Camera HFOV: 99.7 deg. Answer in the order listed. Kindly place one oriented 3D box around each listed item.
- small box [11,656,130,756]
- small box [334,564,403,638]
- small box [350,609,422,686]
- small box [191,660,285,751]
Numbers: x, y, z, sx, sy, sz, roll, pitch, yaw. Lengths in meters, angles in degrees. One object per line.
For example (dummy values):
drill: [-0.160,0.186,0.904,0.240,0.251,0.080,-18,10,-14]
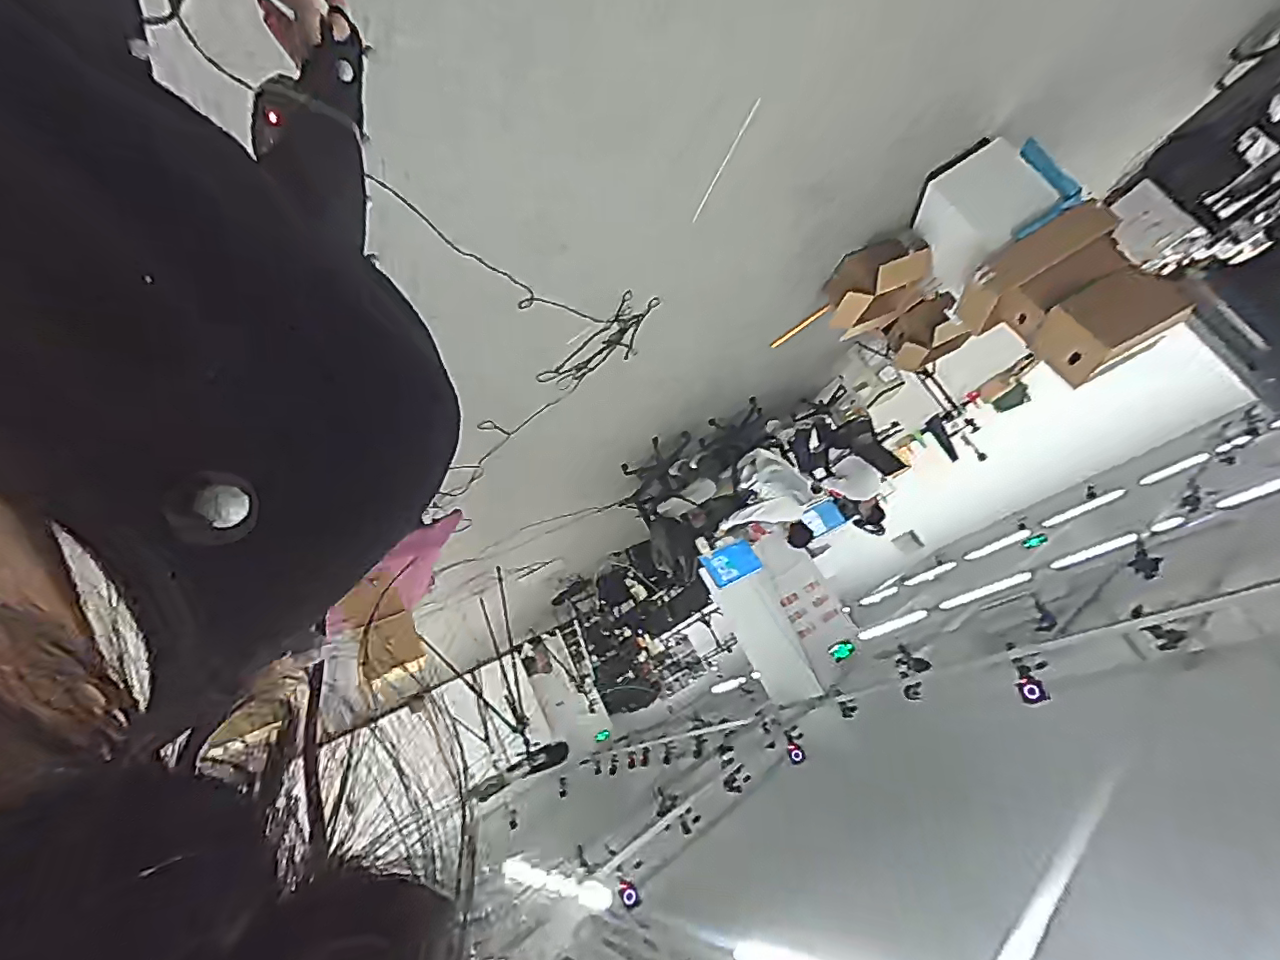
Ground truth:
small box: [-1.446,0.569,1.378,0.168,0.176,0.179,-16,161,-39]
small box: [-0.904,0.400,1.796,0.168,0.176,0.179,-18,160,-35]
small box: [-0.823,0.533,1.743,0.168,0.176,0.179,-17,160,-36]
small box: [-1.127,0.631,1.524,0.179,0.176,0.168,-16,161,-37]
